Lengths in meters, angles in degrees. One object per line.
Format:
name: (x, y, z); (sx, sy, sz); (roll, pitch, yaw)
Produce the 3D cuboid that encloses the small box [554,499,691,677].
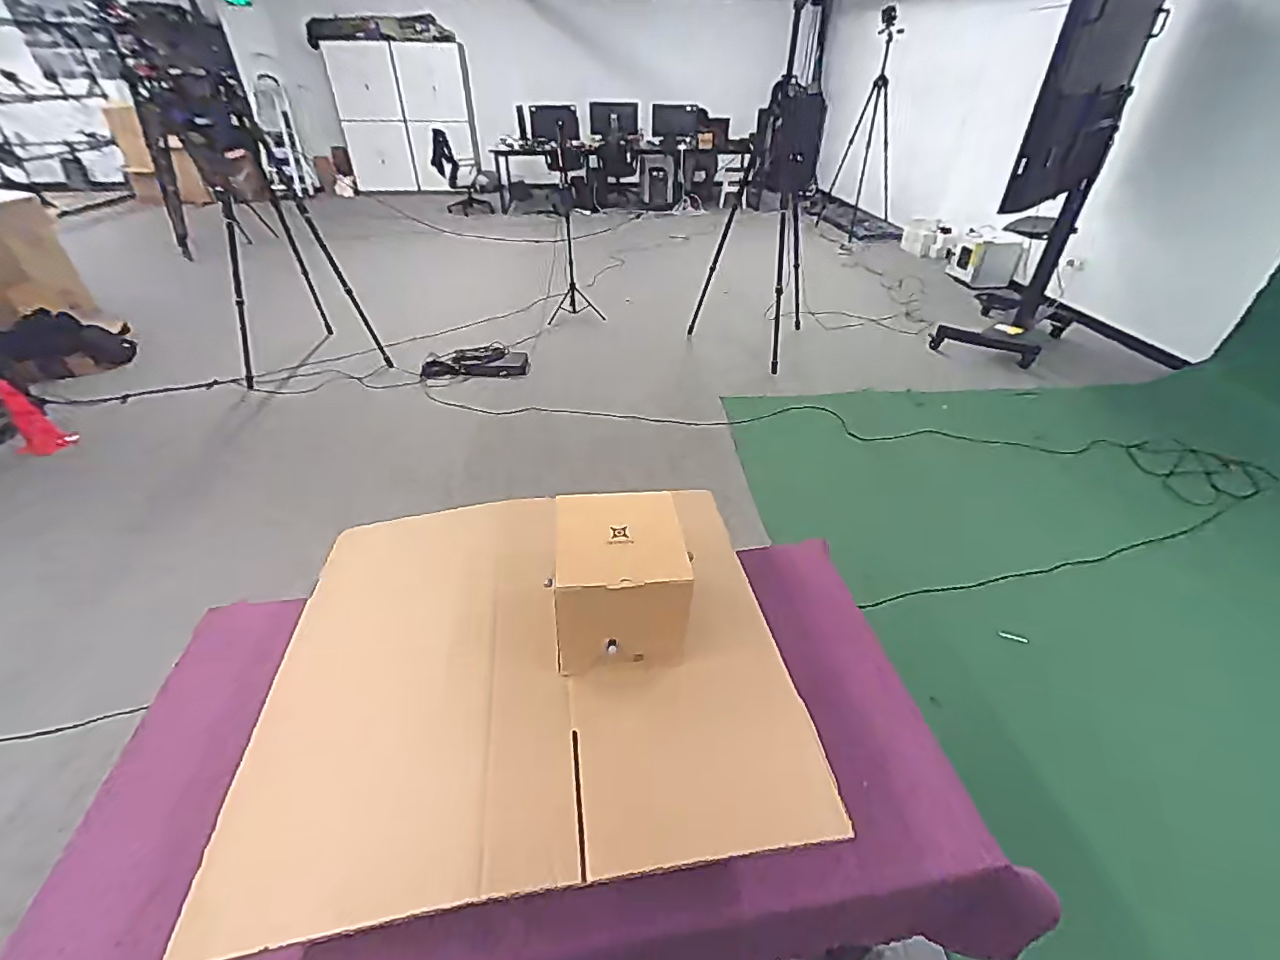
small box: (-0.034, 0.145, 0.748); (0.168, 0.176, 0.179); (-2, 38, -7)
